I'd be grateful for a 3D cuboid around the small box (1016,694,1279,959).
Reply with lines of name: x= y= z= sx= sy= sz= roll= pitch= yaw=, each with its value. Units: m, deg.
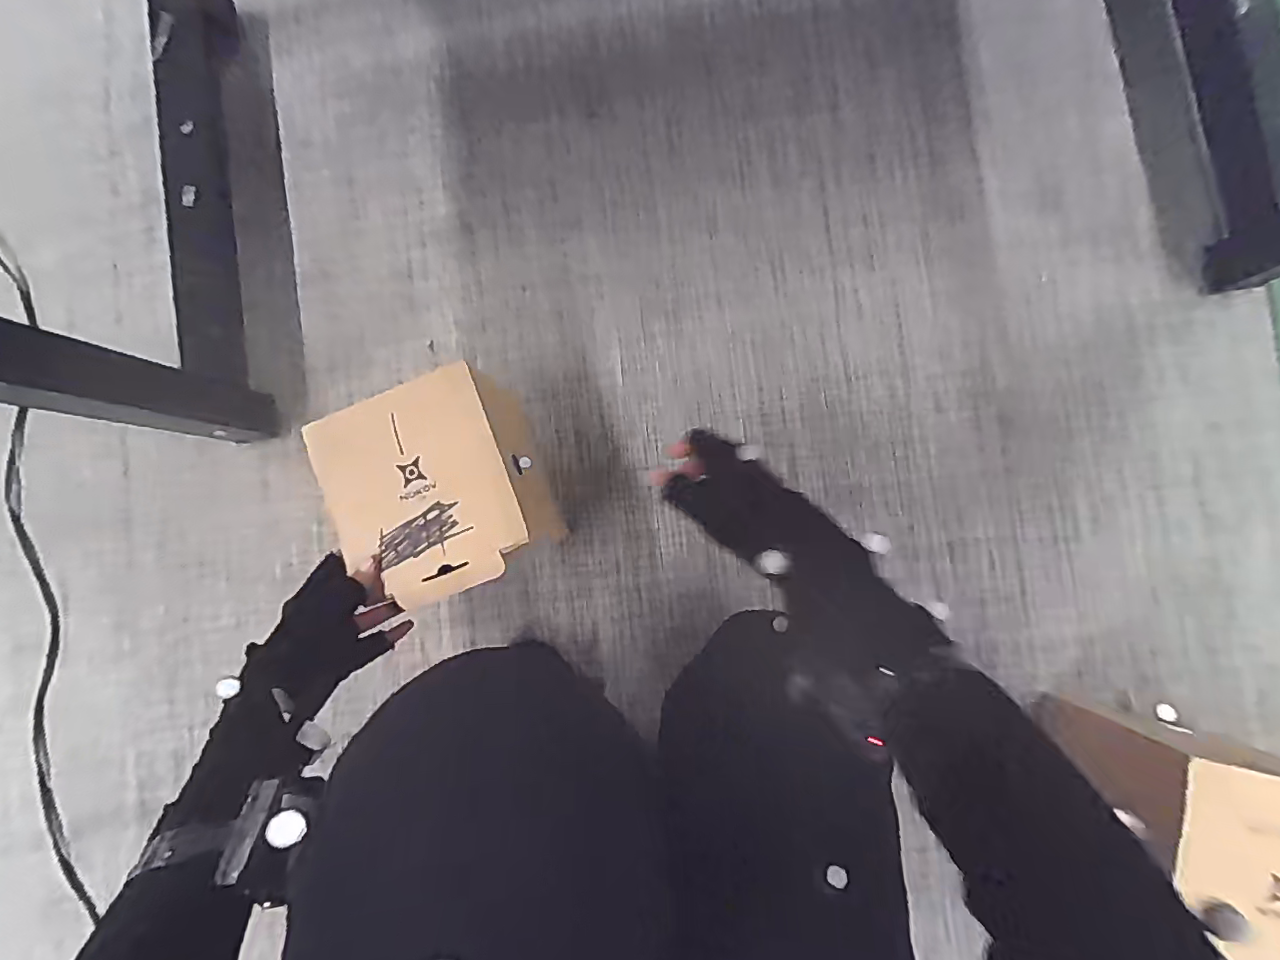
small box: x=0.484 y=0.324 z=0.493 sx=0.168 sy=0.176 sz=0.179 roll=12 pitch=86 yaw=3
